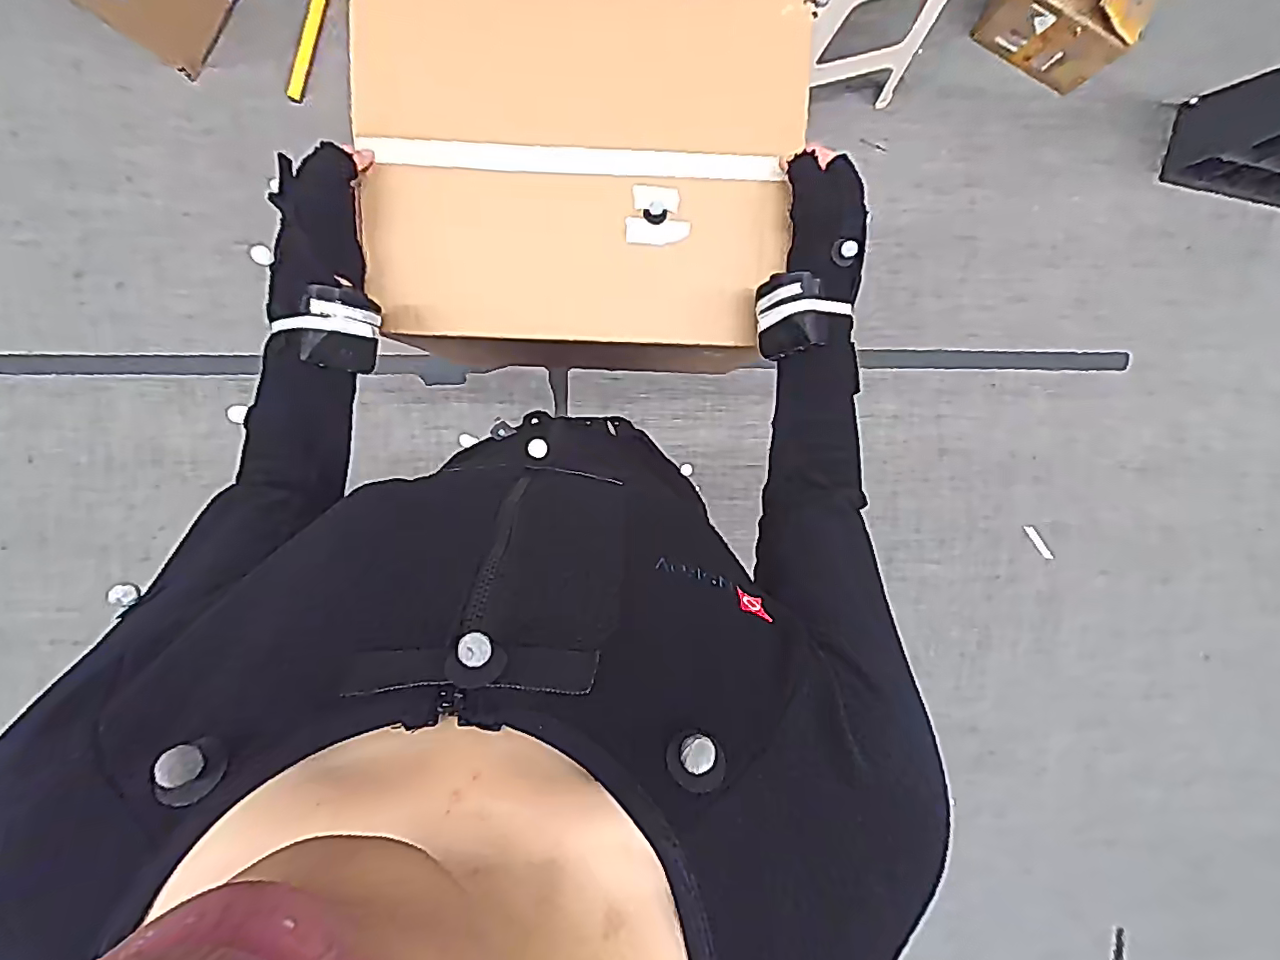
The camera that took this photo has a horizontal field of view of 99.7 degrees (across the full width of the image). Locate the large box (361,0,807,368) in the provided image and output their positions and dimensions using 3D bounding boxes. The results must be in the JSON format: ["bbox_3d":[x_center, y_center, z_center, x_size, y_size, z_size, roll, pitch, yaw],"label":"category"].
[{"bbox_3d":[-0.058,-0.306,0.642,0.408,0.320,0.320,1,97,-3],"label":"large box"}]
